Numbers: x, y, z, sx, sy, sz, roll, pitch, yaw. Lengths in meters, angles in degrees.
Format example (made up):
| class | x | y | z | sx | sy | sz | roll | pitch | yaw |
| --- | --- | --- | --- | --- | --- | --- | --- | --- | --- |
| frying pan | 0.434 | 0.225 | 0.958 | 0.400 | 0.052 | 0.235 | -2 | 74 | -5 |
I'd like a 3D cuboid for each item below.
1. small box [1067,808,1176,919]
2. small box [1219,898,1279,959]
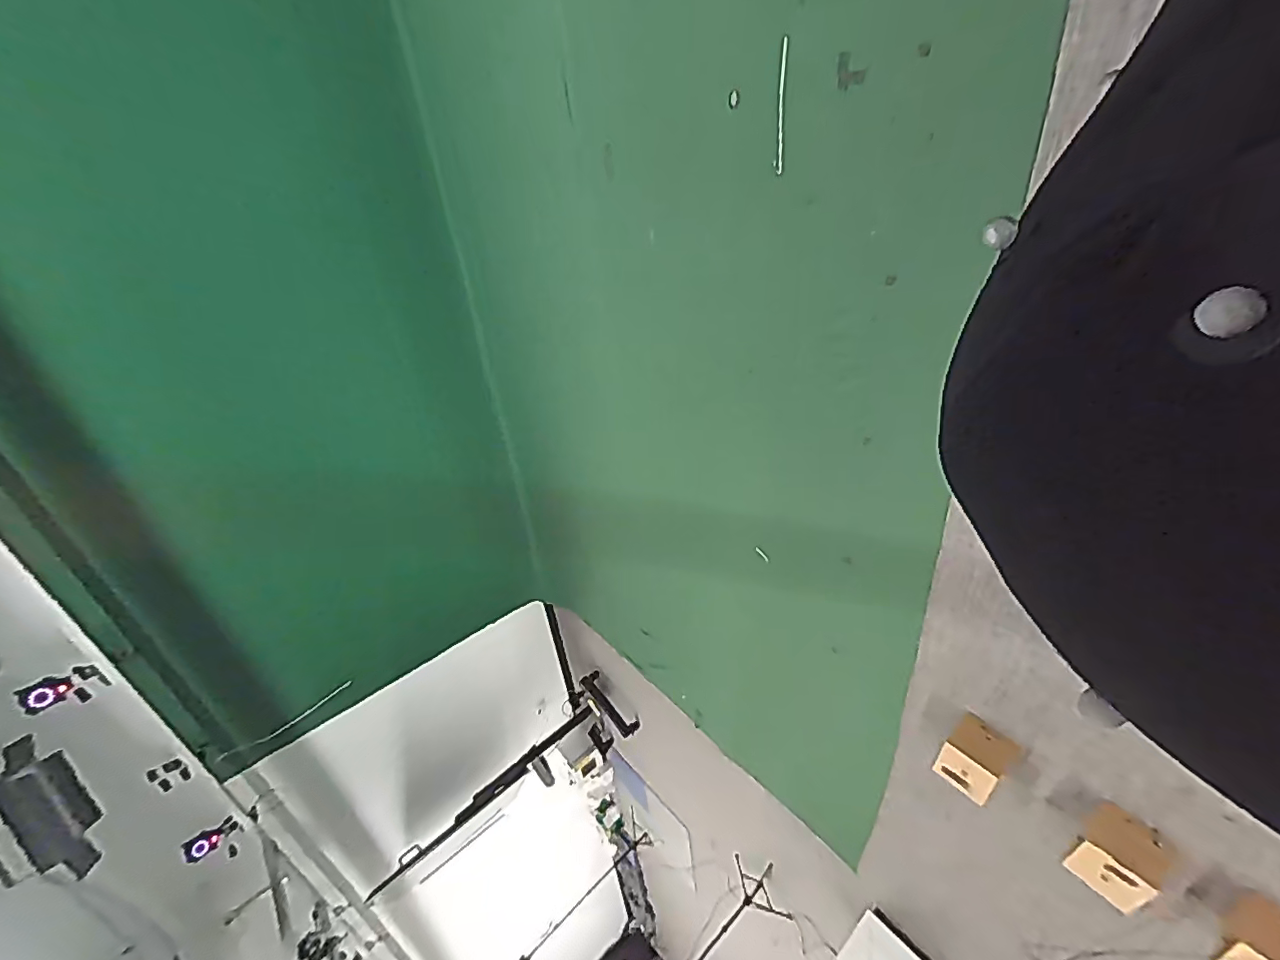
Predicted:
| class | x | y | z | sx | sy | sz | roll | pitch | yaw |
| --- | --- | --- | --- | --- | --- | --- | --- | --- | --- |
| small box | 1.375 | 1.084 | 1.541 | 0.168 | 0.176 | 0.179 | 35 | 140 | 39 |
| small box | 1.576 | 1.189 | 1.323 | 0.168 | 0.176 | 0.179 | 28 | 134 | 43 |
